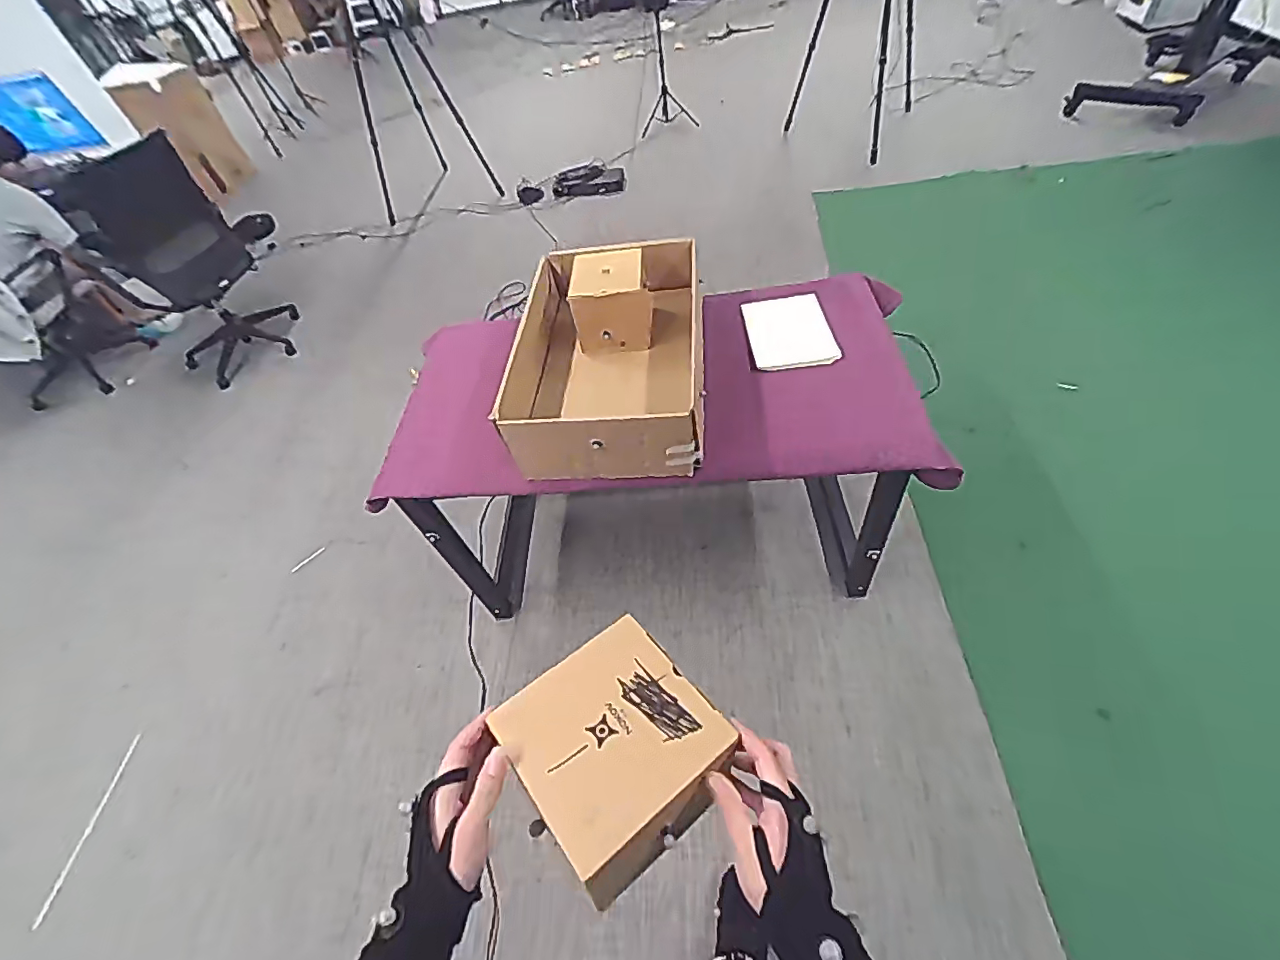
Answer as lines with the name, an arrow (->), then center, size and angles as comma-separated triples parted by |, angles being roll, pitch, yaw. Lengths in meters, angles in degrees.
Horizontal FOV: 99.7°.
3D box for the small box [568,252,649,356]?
small box -> -0.069, -0.425, 1.317 | 0.168, 0.176, 0.179 | -4, 53, 7
